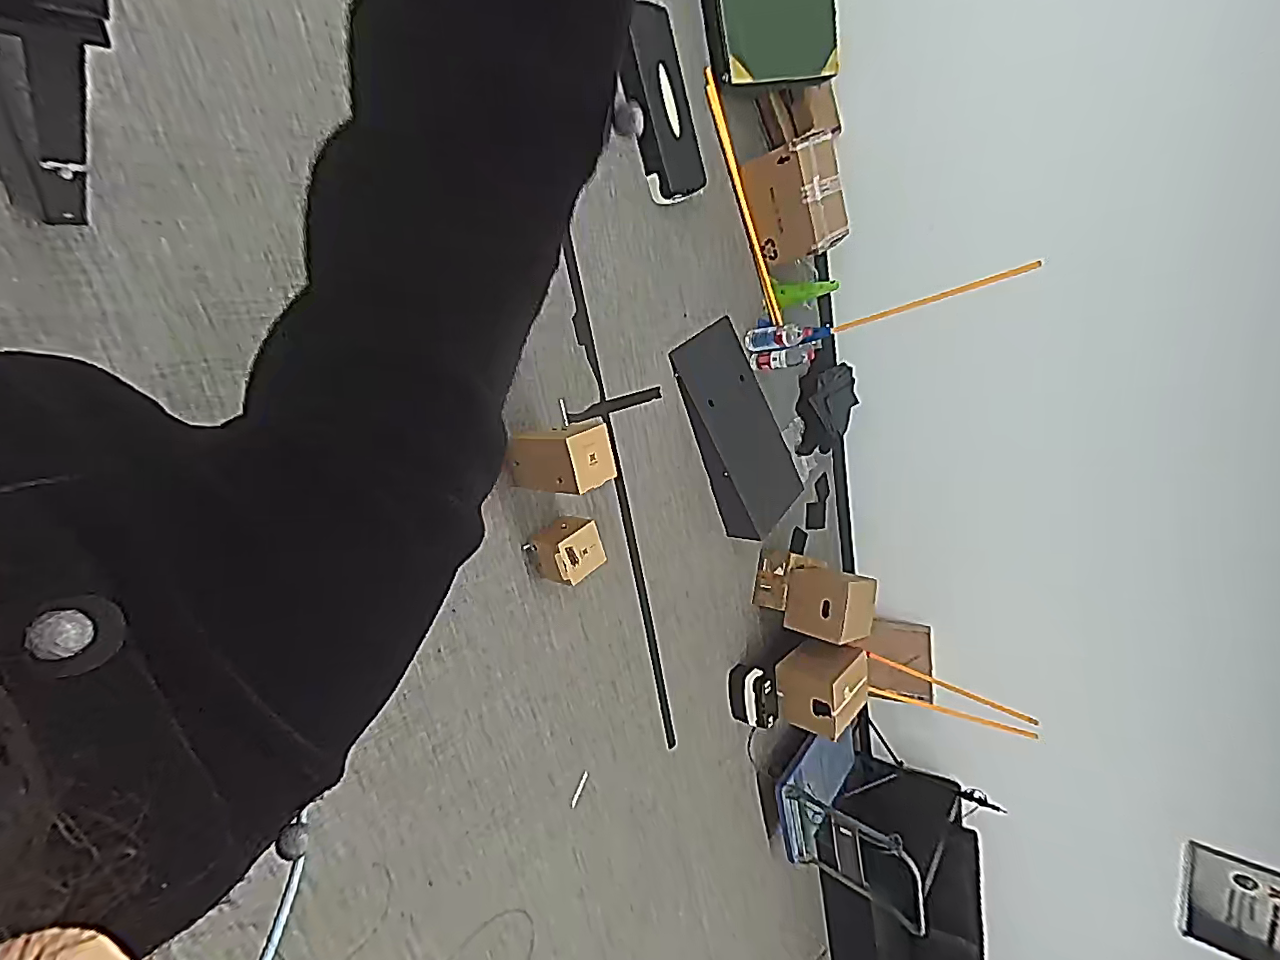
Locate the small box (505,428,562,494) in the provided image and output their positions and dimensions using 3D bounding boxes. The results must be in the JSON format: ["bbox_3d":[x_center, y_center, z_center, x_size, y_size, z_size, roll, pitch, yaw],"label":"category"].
[{"bbox_3d":[-0.316,-0.069,1.772,0.168,0.176,0.179,-25,112,-43],"label":"small box"}]

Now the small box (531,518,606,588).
[{"bbox_3d":[-0.253,0.247,1.867,0.179,0.176,0.168,-34,117,-41],"label":"small box"}]

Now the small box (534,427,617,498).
[{"bbox_3d":[-0.199,-0.060,1.657,0.168,0.176,0.179,-27,112,-42],"label":"small box"}]
